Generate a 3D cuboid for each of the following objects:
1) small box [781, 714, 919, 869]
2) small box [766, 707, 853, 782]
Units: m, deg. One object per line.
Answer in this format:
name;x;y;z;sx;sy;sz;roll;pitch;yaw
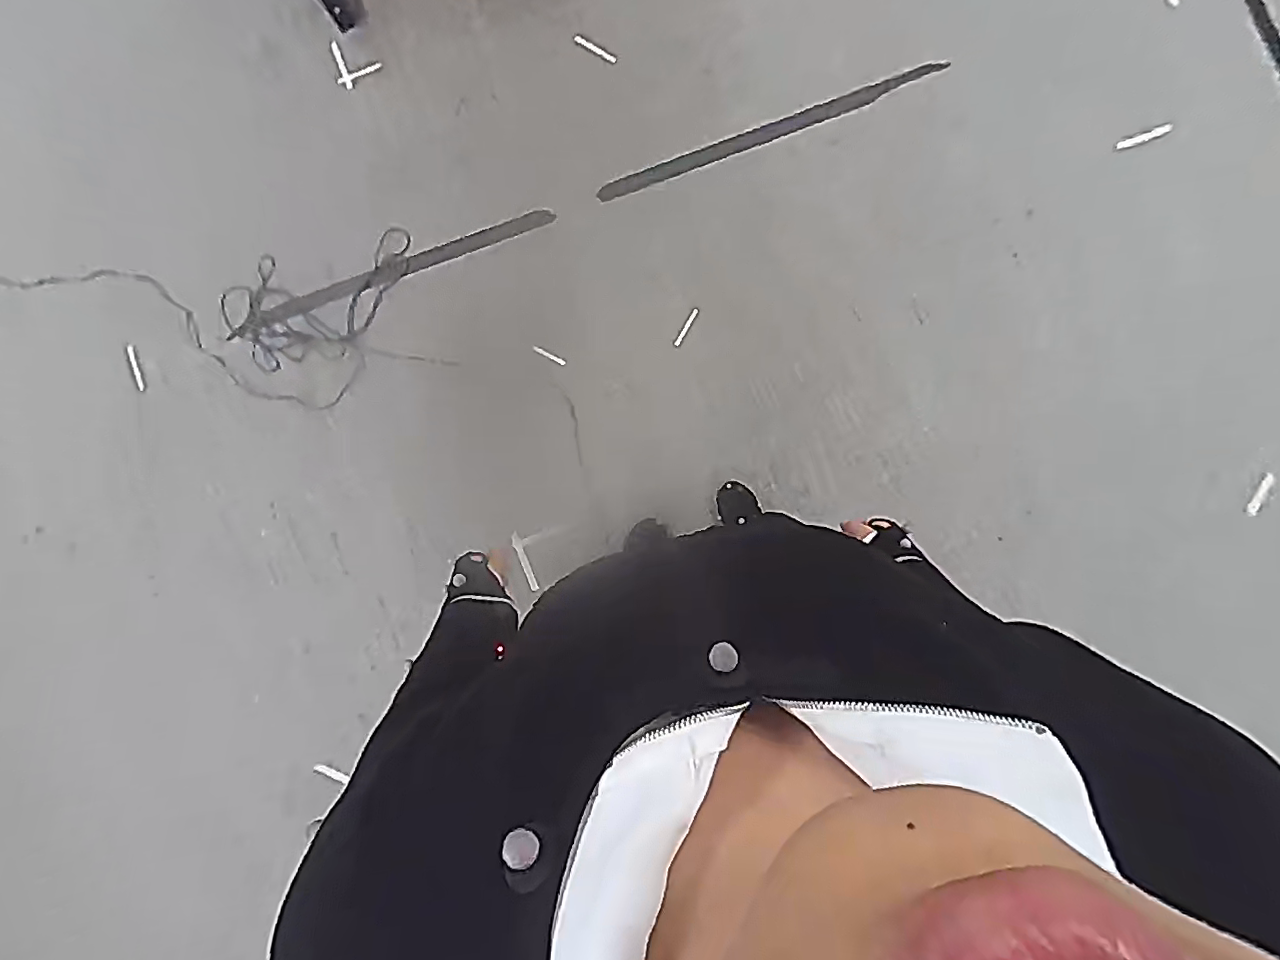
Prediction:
small box;0.386;0.585;1.038;0.179;0.176;0.168;-25;88;1
small box;0.394;0.593;1.201;0.179;0.176;0.168;-24;87;1
